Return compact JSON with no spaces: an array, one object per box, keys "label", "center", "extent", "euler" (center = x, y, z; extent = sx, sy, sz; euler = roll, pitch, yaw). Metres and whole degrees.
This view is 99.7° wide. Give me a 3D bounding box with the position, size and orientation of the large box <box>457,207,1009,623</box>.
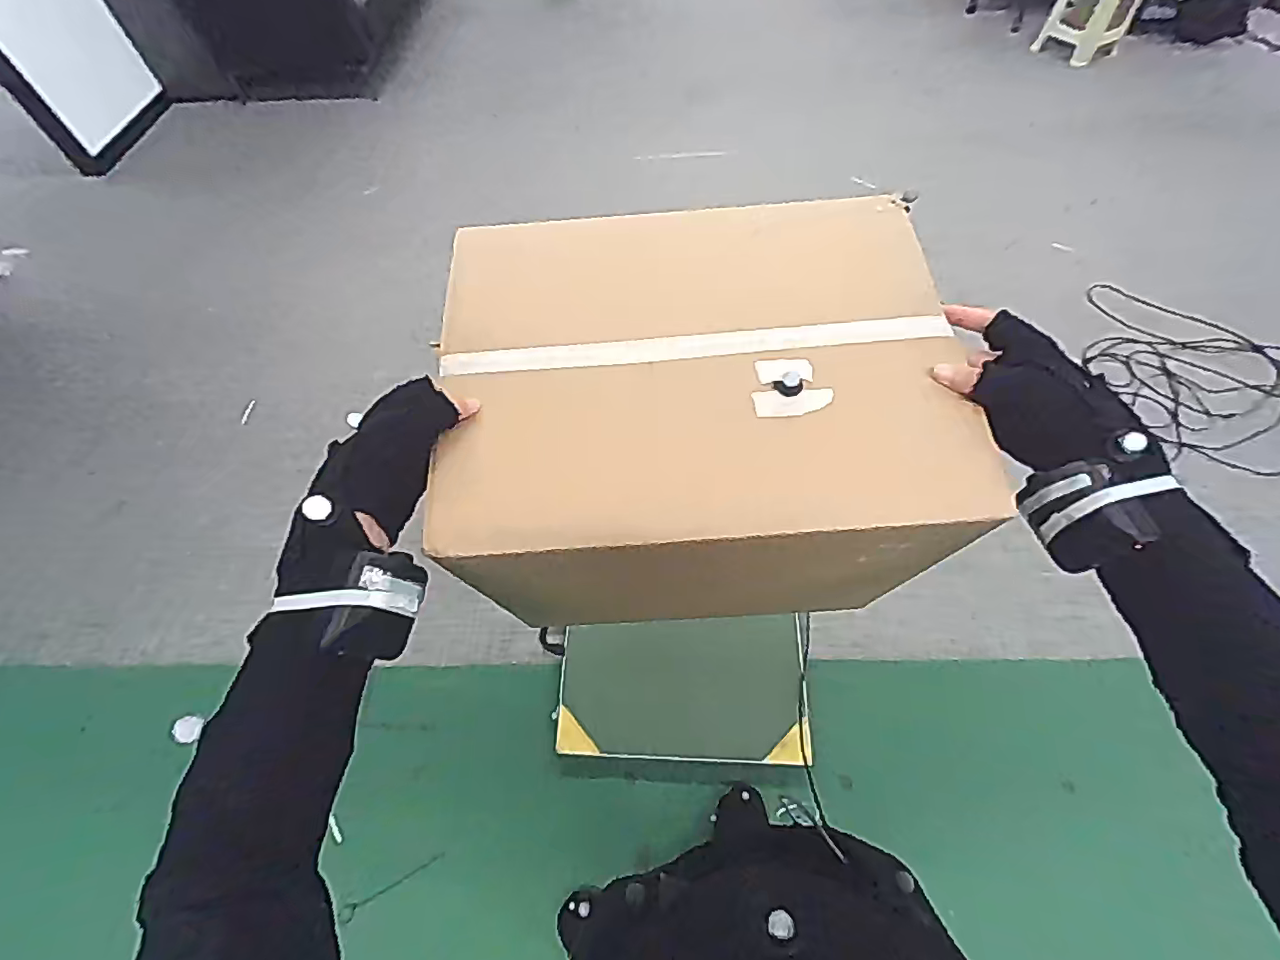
[{"label":"large box","center":[0.059,-0.042,0.578],"extent":[0.408,0.320,0.320],"euler":[-4,66,0]}]
